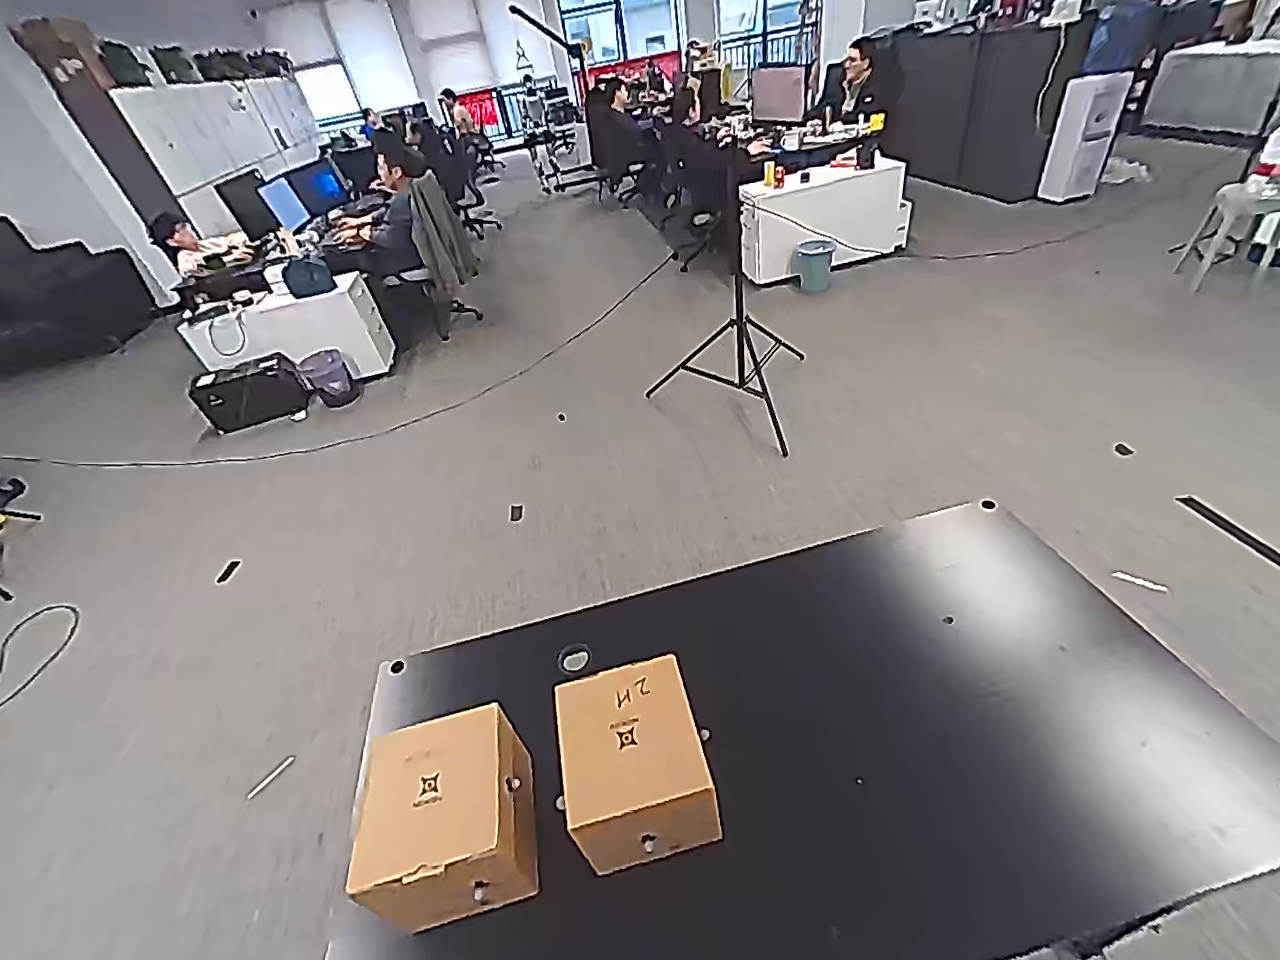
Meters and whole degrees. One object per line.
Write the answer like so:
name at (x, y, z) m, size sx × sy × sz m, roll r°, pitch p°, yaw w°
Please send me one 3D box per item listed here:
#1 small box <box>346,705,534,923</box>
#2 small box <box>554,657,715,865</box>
small box at (-0.238, 0.428, 0.688) m, size 0.168 × 0.176 × 0.179 m, roll -14°, pitch 38°, yaw -5°
small box at (-0.006, 0.367, 0.701) m, size 0.168 × 0.176 × 0.179 m, roll -14°, pitch 39°, yaw -4°
